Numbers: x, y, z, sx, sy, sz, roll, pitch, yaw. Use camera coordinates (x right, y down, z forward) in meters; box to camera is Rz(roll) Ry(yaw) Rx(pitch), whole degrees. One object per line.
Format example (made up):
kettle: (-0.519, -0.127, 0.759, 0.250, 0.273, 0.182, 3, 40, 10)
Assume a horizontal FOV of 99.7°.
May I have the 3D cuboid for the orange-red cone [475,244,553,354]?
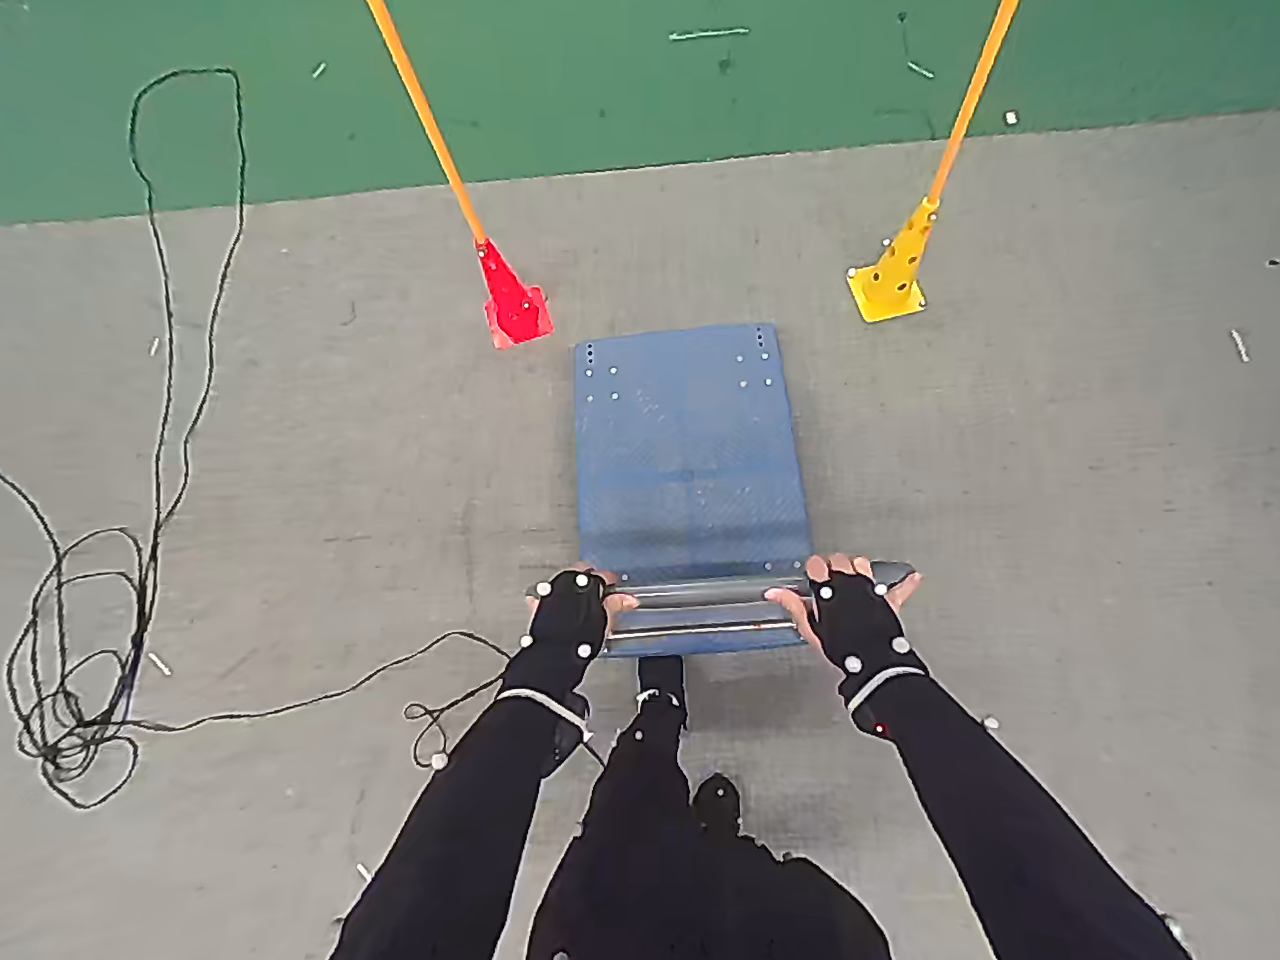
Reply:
orange-red cone: (-0.416, -0.573, 1.637, 0.199, 0.360, 0.198, -17, 70, 1)
